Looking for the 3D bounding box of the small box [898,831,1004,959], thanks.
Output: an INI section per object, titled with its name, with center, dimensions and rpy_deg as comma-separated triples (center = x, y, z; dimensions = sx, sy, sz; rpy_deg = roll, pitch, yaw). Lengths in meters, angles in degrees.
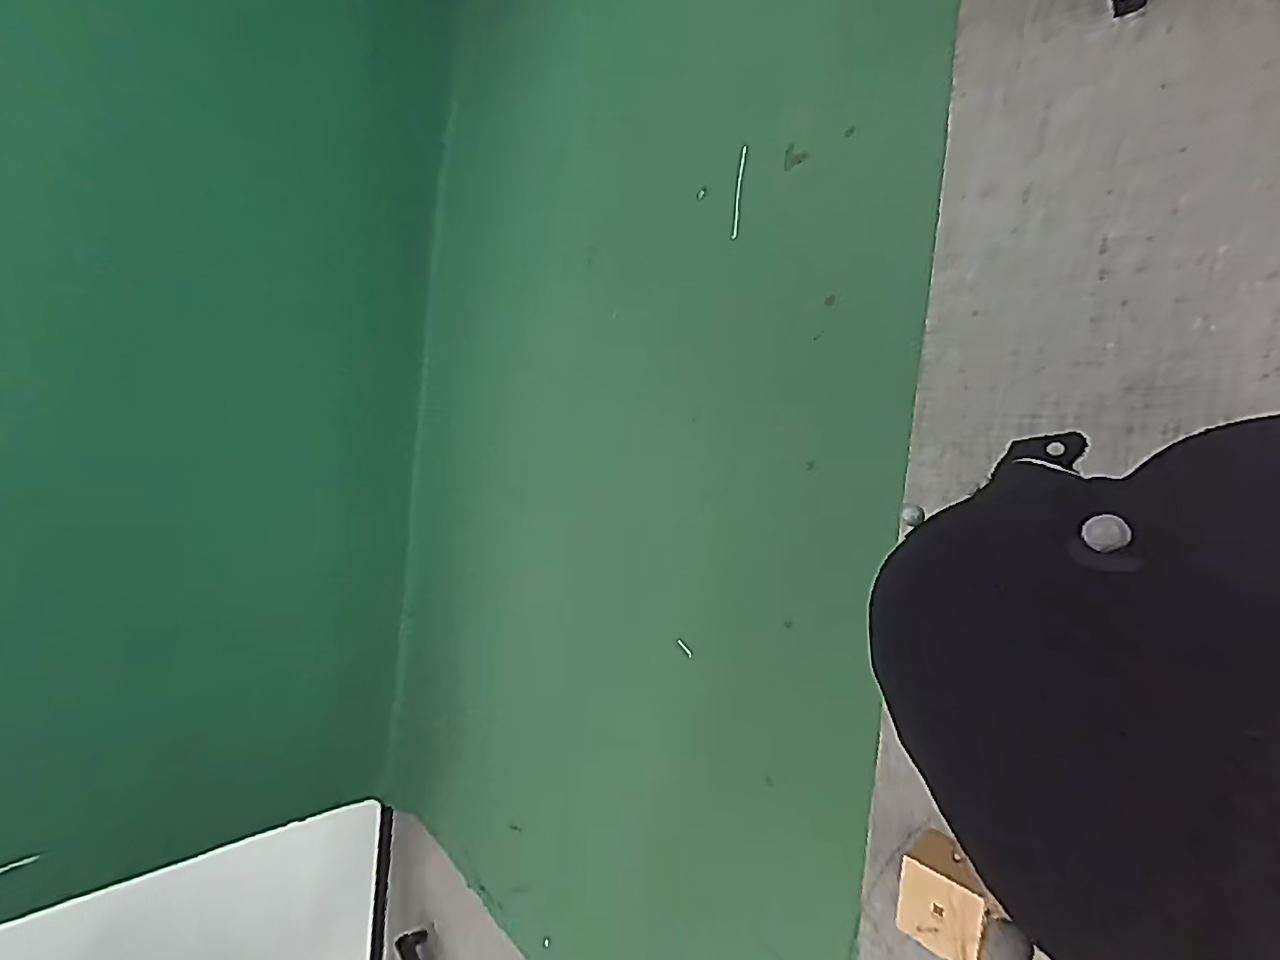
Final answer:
[small box]
center = 0.720, 0.960, 1.246
dimensions = 0.168, 0.176, 0.179
rpy_deg = 8, 92, 46
